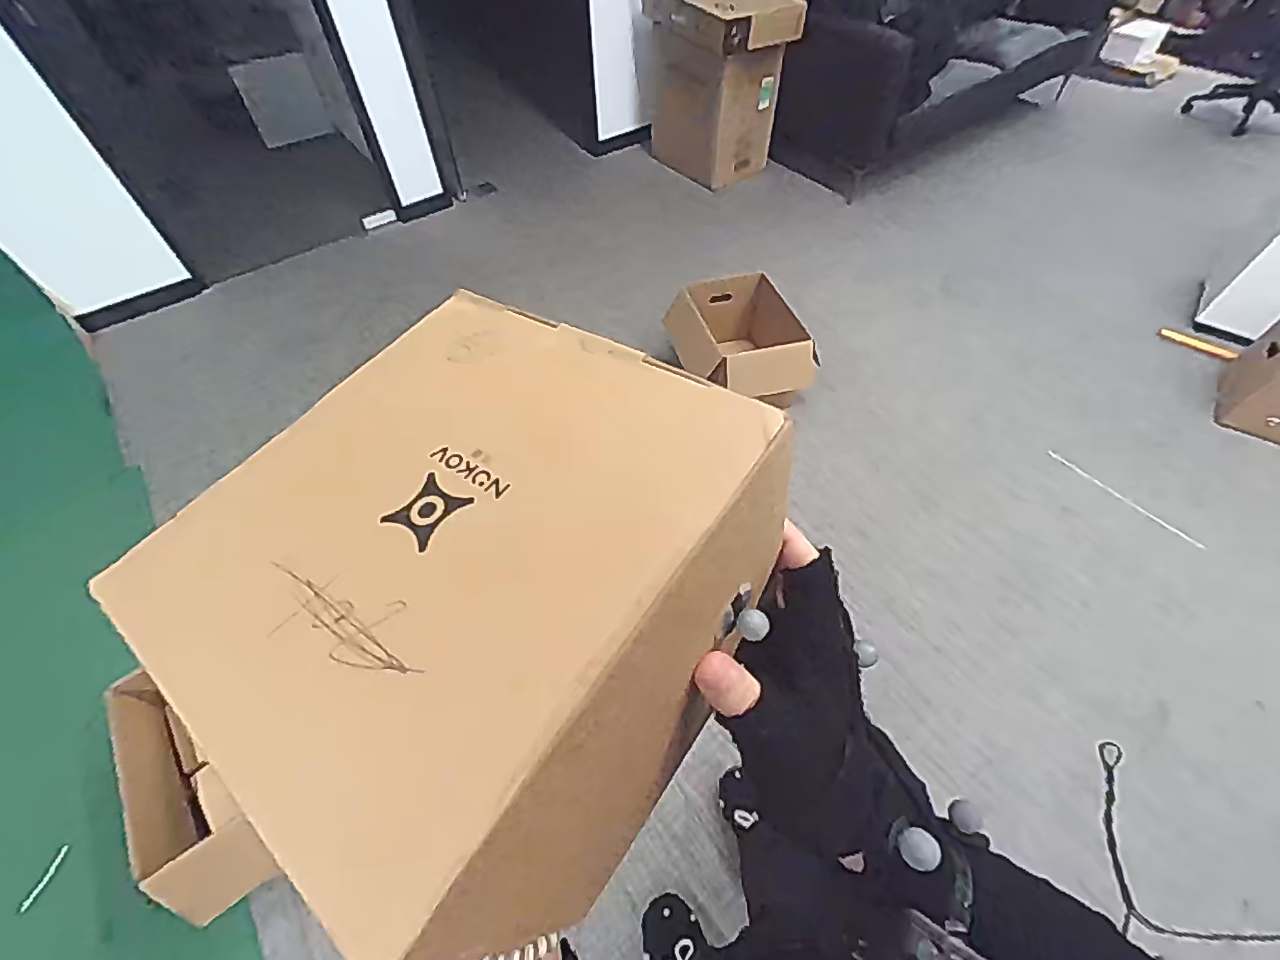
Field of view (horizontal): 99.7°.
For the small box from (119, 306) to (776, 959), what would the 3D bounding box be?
[{"bbox_3d":[-0.055,0.057,0.249,0.168,0.176,0.179,27,65,28],"label":"small box"}]
